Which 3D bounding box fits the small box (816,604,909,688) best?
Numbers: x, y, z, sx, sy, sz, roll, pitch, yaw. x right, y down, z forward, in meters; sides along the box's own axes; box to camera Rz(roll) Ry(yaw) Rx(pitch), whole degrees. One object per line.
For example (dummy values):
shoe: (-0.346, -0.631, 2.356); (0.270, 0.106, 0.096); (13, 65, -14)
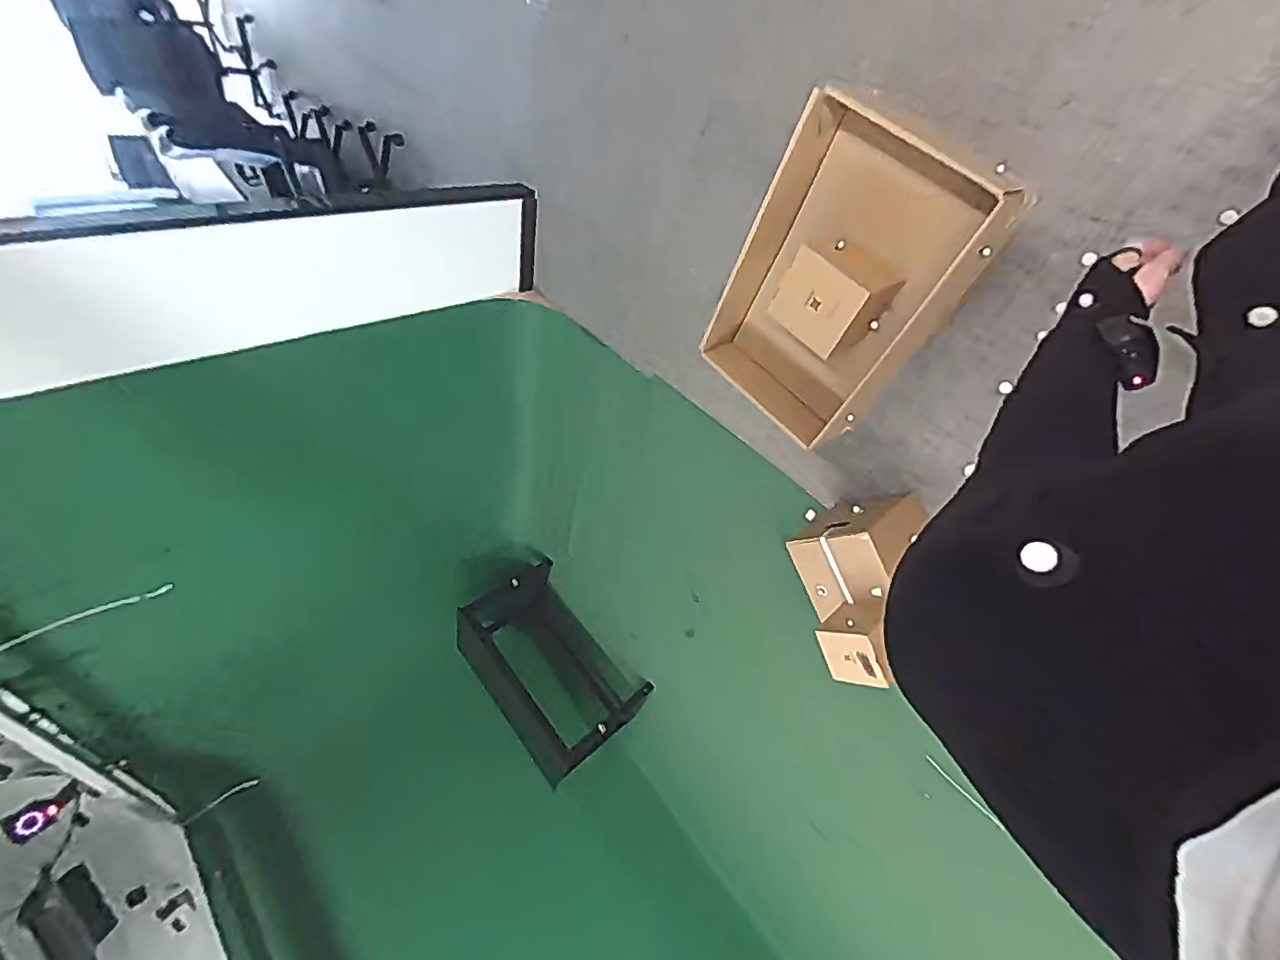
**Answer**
small box: (0.652, 0.474, 1.567); (0.179, 0.176, 0.168); (-15, 99, 53)
